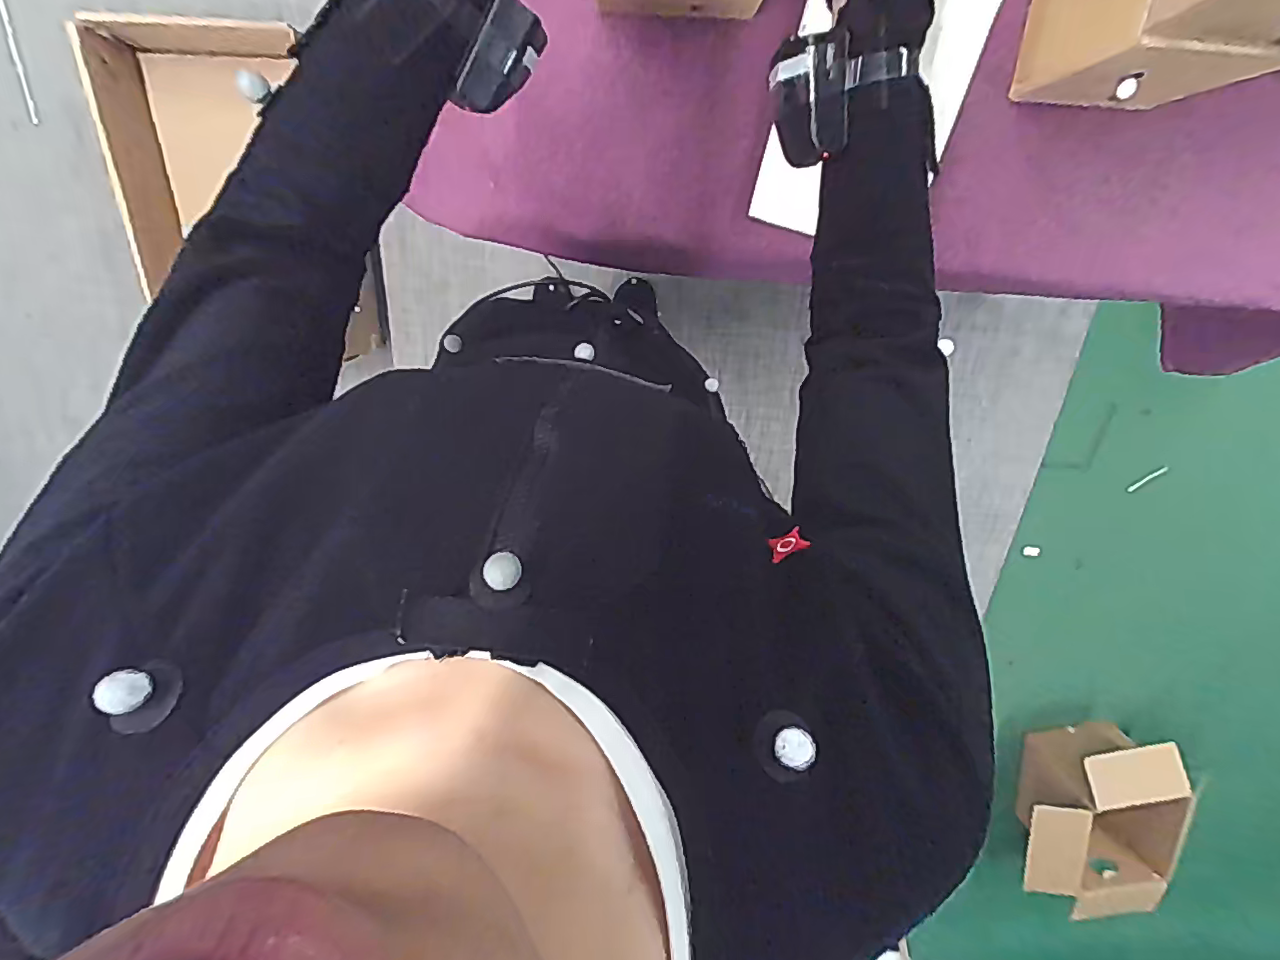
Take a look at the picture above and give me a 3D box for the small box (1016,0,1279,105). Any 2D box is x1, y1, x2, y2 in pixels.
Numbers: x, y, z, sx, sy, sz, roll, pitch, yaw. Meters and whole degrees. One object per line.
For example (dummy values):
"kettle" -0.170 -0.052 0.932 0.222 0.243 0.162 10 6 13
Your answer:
"small box" 0.496 -0.473 0.502 0.168 0.176 0.179 2 111 -3

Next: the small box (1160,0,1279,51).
"small box" 0.507 -0.419 0.346 0.168 0.176 0.179 5 111 -4
